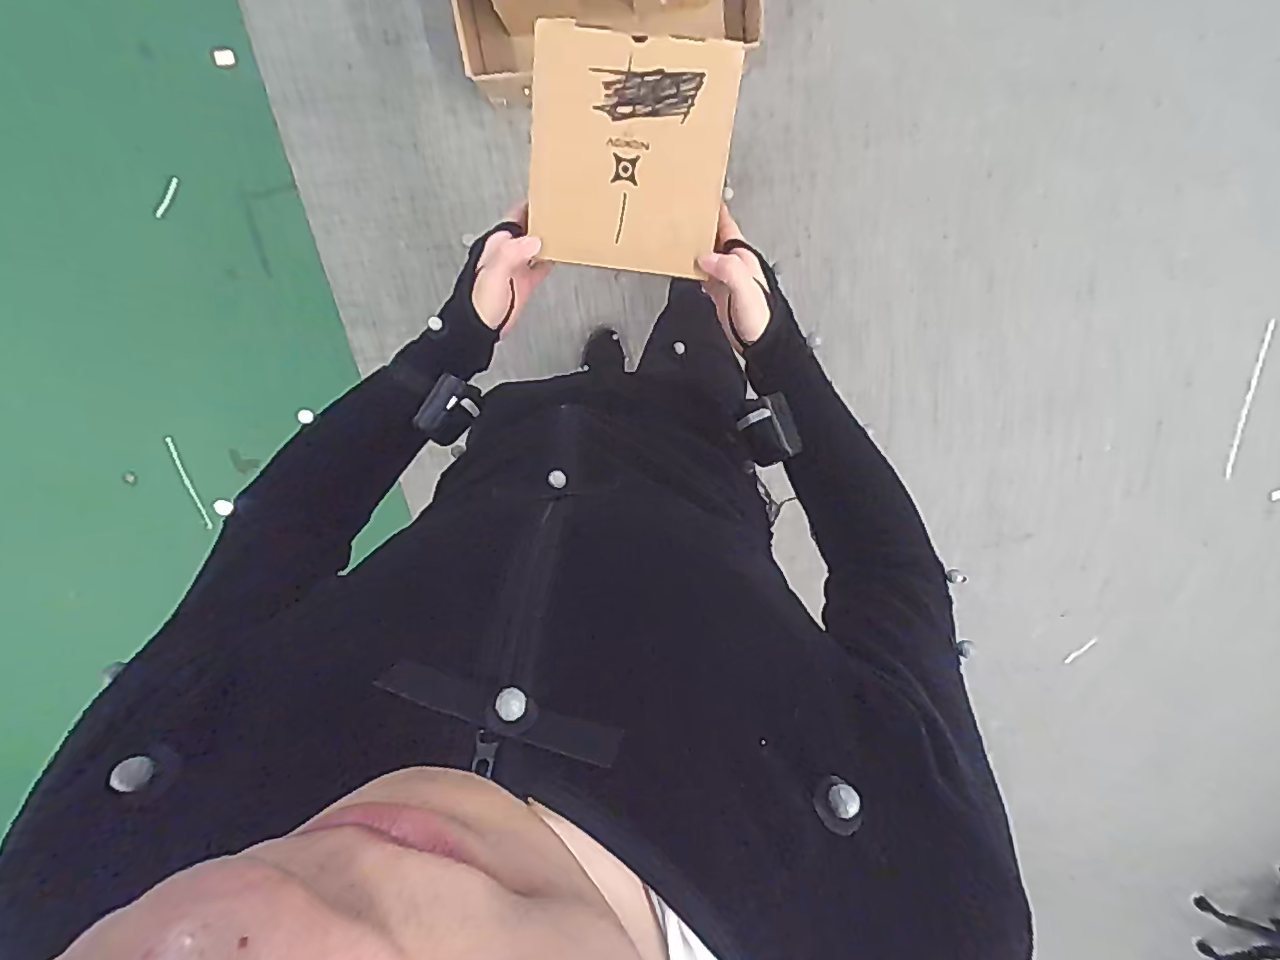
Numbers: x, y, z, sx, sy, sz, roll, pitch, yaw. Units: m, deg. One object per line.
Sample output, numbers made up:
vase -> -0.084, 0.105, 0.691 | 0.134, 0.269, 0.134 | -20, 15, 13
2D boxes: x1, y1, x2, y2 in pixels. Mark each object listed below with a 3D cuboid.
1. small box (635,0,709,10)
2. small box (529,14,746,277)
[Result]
small box -> 0.062, -1.068, 1.069 | 0.168, 0.176, 0.179 | -4, 113, 3
small box -> -0.004, -0.301, 0.526 | 0.168, 0.176, 0.179 | 8, 112, 1
